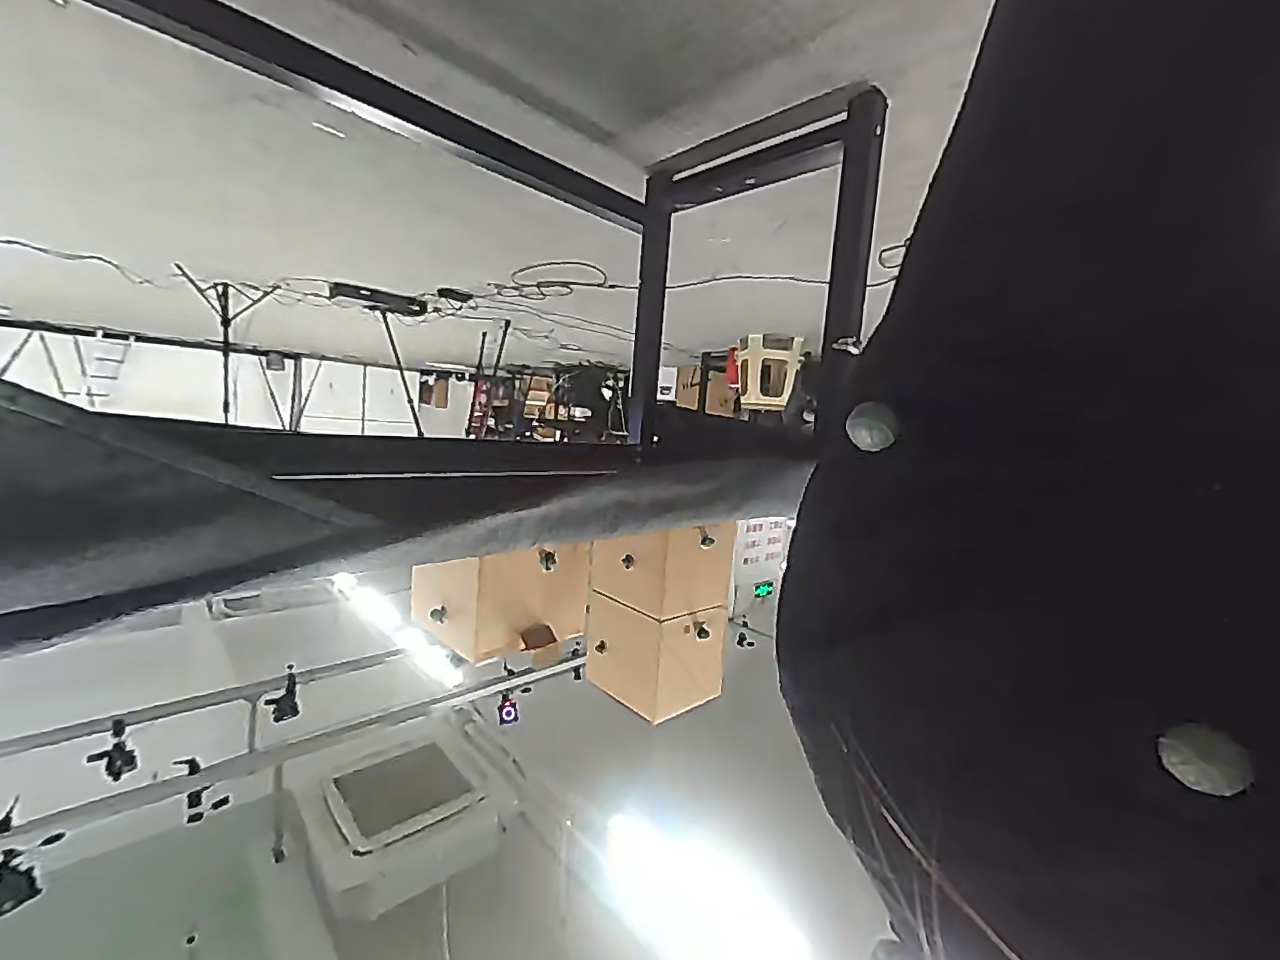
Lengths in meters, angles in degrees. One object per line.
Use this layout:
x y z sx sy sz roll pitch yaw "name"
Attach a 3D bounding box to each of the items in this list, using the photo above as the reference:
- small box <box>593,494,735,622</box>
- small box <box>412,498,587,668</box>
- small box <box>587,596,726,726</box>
0.042 0.118 0.906 0.168 0.176 0.179 -1 -172 -42 "small box"
-0.183 0.119 0.717 0.179 0.176 0.168 10 -172 44 "small box"
0.030 0.279 0.923 0.168 0.176 0.179 -3 -171 -42 "small box"
